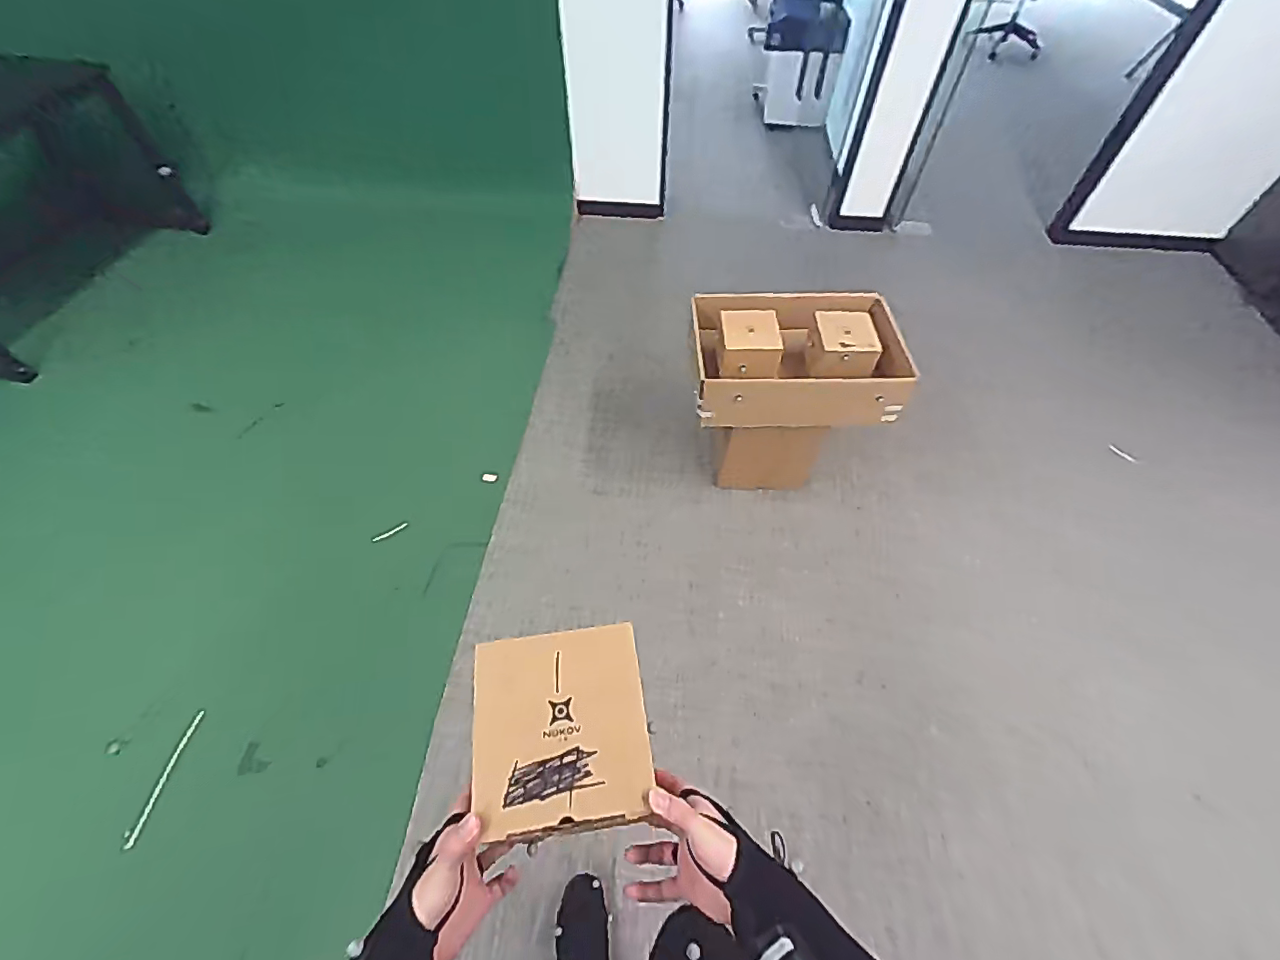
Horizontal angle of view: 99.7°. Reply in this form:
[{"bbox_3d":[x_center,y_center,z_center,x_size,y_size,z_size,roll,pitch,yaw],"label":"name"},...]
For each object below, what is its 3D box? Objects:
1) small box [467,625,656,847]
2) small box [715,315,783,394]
[{"bbox_3d":[-0.076,0.272,0.569,0.168,0.176,0.179,-5,54,-6],"label":"small box"},{"bbox_3d":[0.322,-0.374,1.632,0.168,0.176,0.179,0,53,-1],"label":"small box"}]
